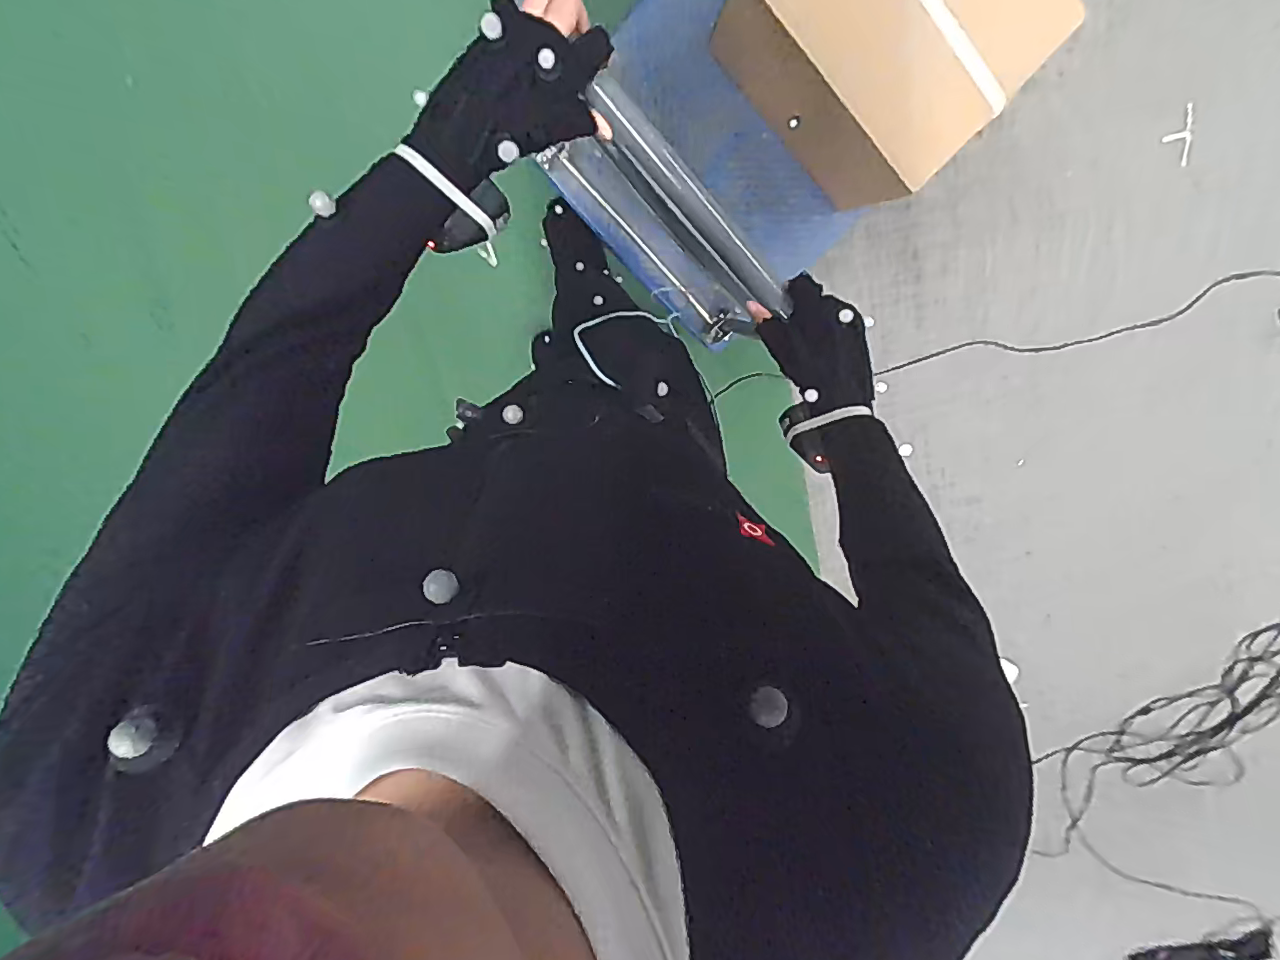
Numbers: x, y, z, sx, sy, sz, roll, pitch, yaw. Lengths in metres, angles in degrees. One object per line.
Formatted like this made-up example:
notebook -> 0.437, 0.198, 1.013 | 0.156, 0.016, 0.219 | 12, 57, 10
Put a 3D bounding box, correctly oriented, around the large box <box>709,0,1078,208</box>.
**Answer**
large box -> 0.374, -0.729, 0.891 | 0.408, 0.320, 0.320 | 41, 104, -15
